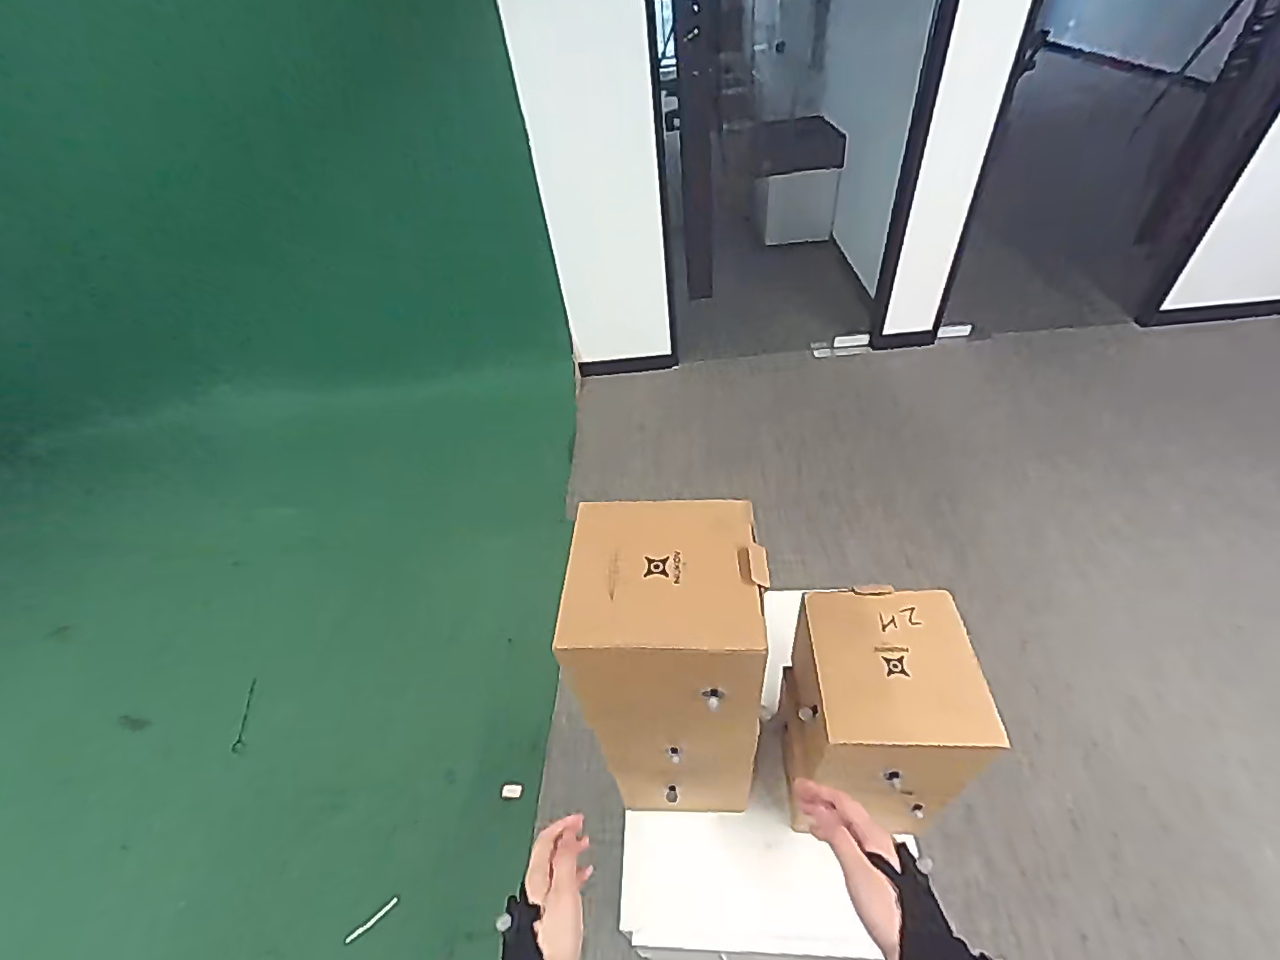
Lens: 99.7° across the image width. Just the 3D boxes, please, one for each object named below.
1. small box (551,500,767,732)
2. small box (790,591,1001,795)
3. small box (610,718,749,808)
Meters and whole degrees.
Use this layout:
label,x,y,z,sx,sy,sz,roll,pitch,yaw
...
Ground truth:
label,x,y,z,sx,sy,sz,roll,pitch,yaw
small box,0.025,0.137,0.542,0.179,0.176,0.168,-2,44,6
small box,0.273,0.248,0.628,0.168,0.176,0.179,-1,45,7
small box,0.059,0.360,0.781,0.179,0.176,0.168,-2,46,5
